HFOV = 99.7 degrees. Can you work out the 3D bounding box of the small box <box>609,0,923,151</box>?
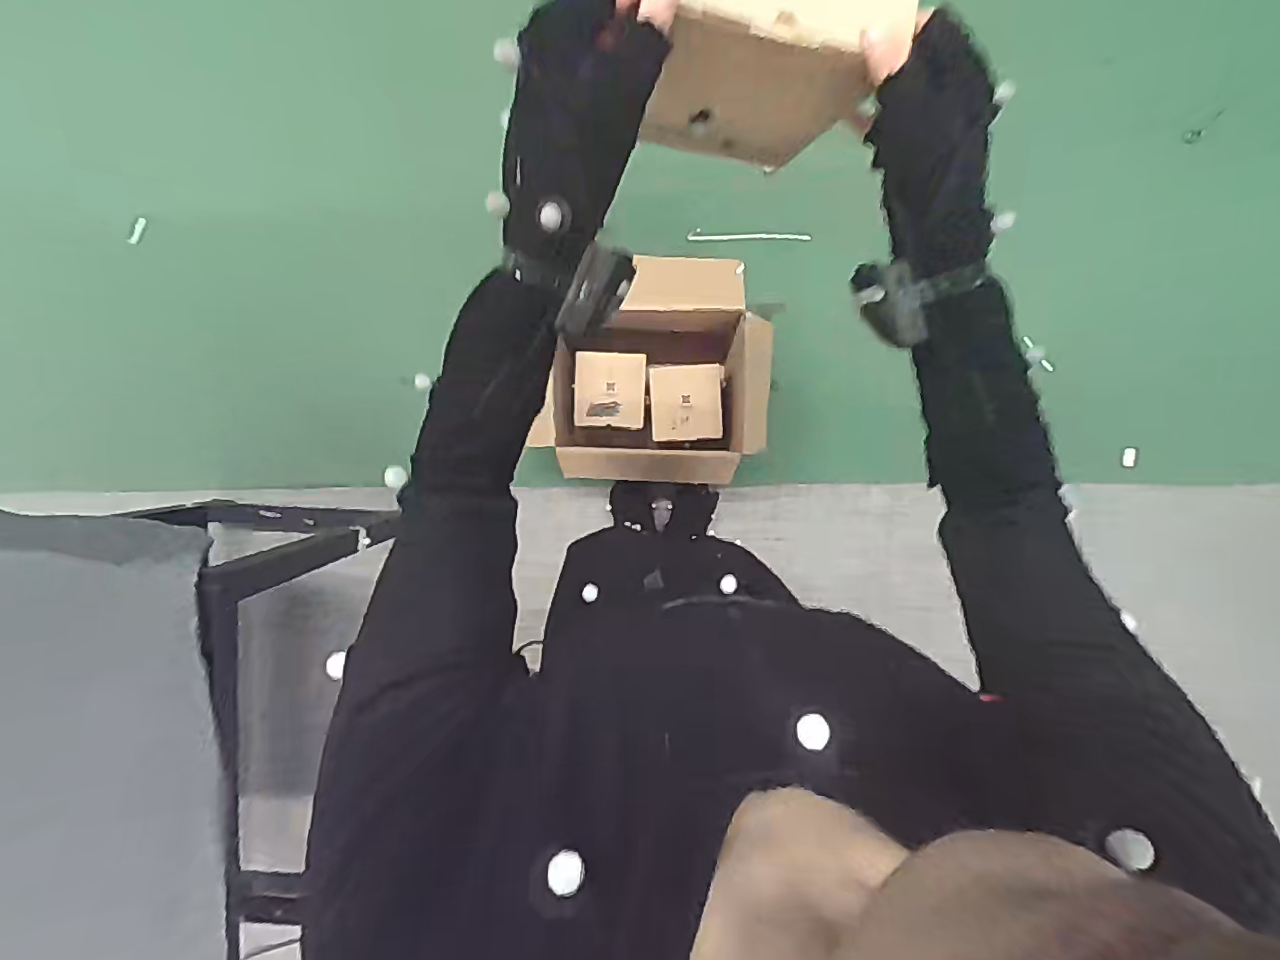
[{"bbox_3d":[0.075,-0.362,0.367,0.168,0.176,0.179,2,100,-13],"label":"small box"}]
